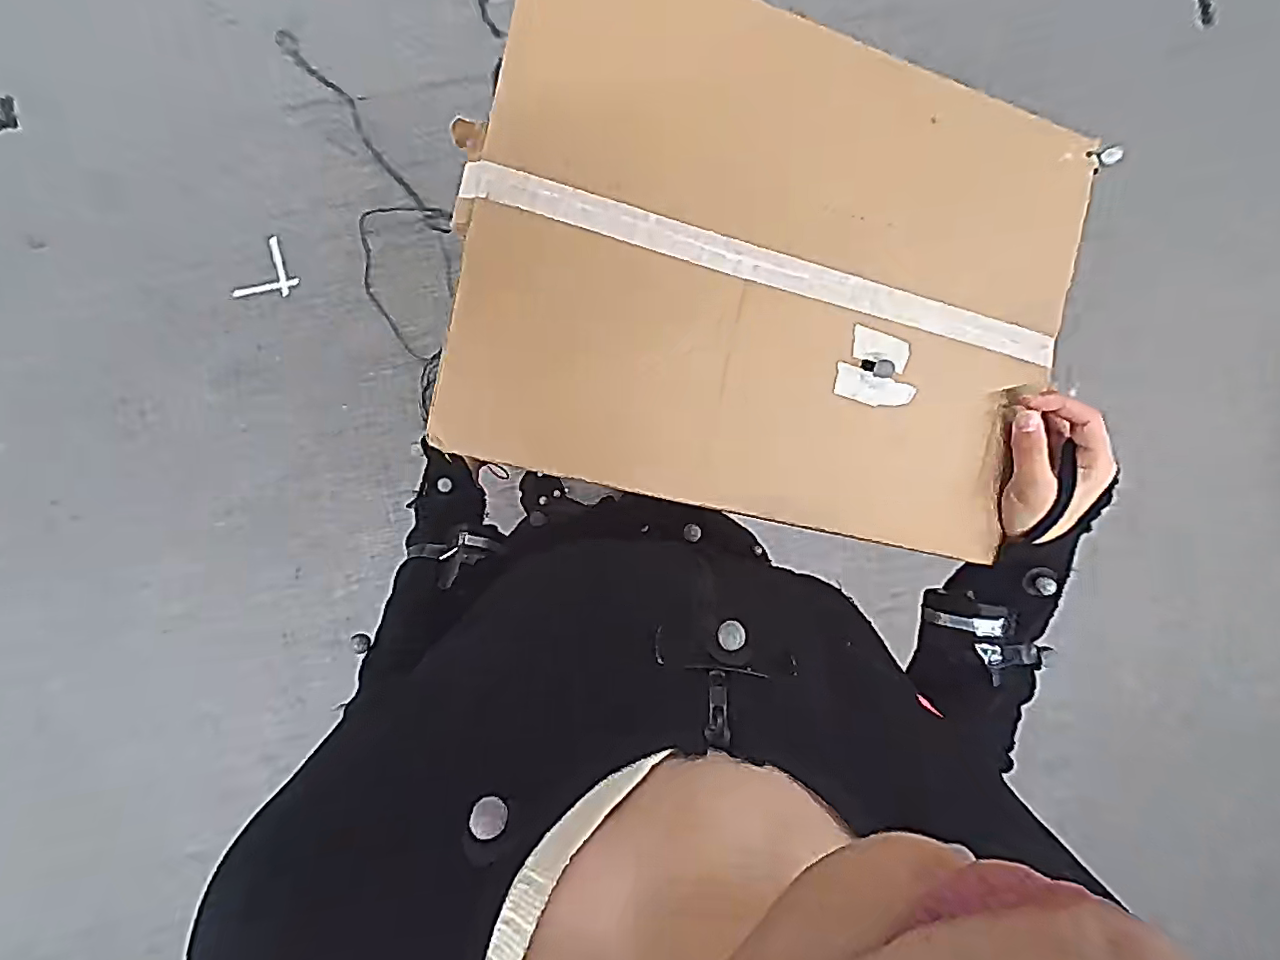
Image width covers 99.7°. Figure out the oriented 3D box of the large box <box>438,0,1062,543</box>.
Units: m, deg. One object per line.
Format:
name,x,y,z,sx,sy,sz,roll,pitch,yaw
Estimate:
large box,0.063,-0.144,0.503,0.408,0.320,0.320,11,92,-13
